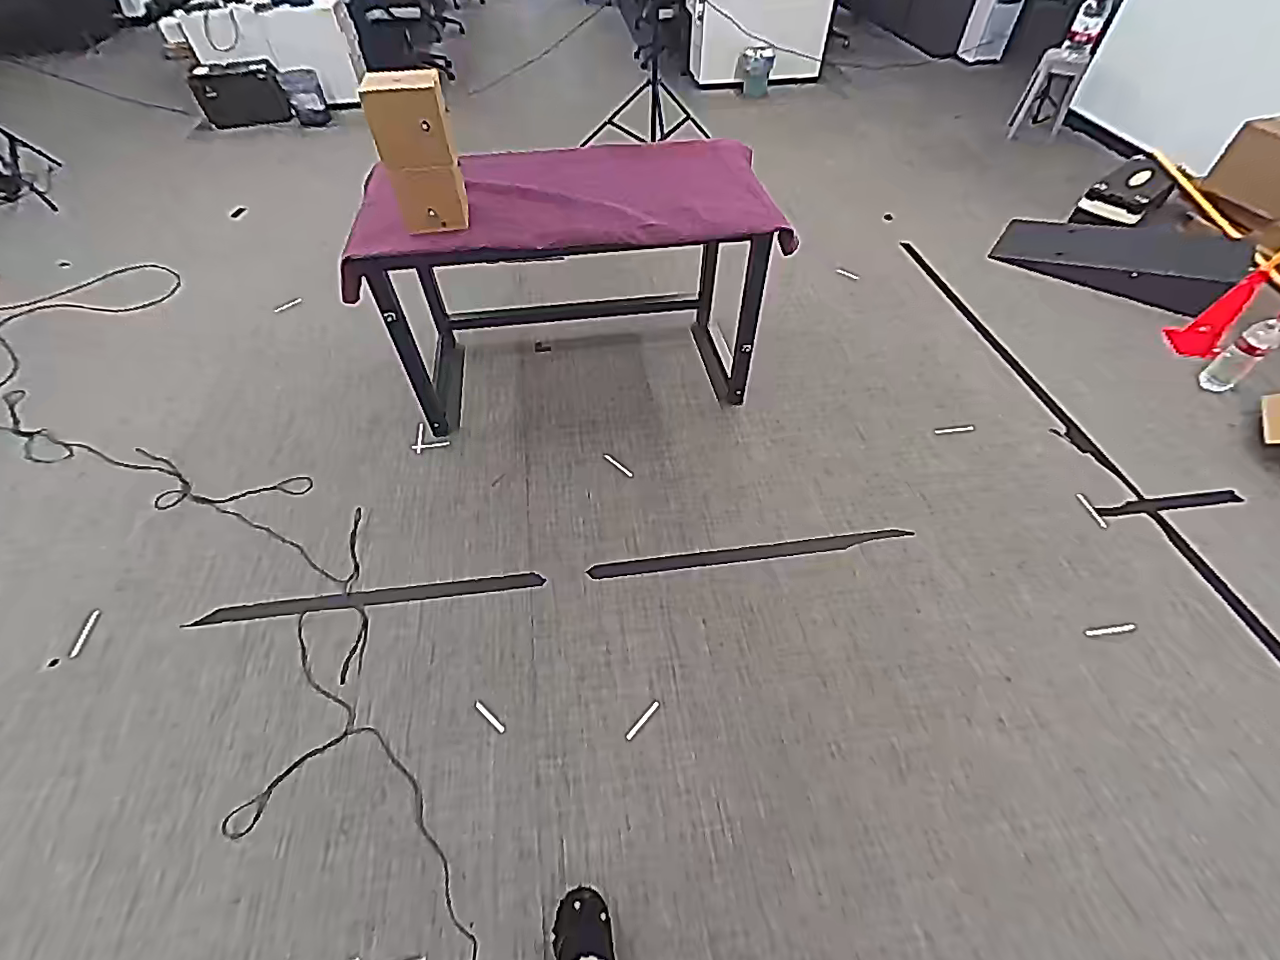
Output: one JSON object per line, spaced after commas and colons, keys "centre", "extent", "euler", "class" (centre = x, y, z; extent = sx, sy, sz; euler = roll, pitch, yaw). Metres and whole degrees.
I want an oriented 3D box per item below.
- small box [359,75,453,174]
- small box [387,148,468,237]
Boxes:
{"centre": [-0.583, -0.901, 1.373], "extent": [0.179, 0.176, 0.168], "euler": [-10, 50, -7], "class": "small box"}
{"centre": [-0.581, -0.798, 1.498], "extent": [0.168, 0.176, 0.179], "euler": [-9, 51, -7], "class": "small box"}
